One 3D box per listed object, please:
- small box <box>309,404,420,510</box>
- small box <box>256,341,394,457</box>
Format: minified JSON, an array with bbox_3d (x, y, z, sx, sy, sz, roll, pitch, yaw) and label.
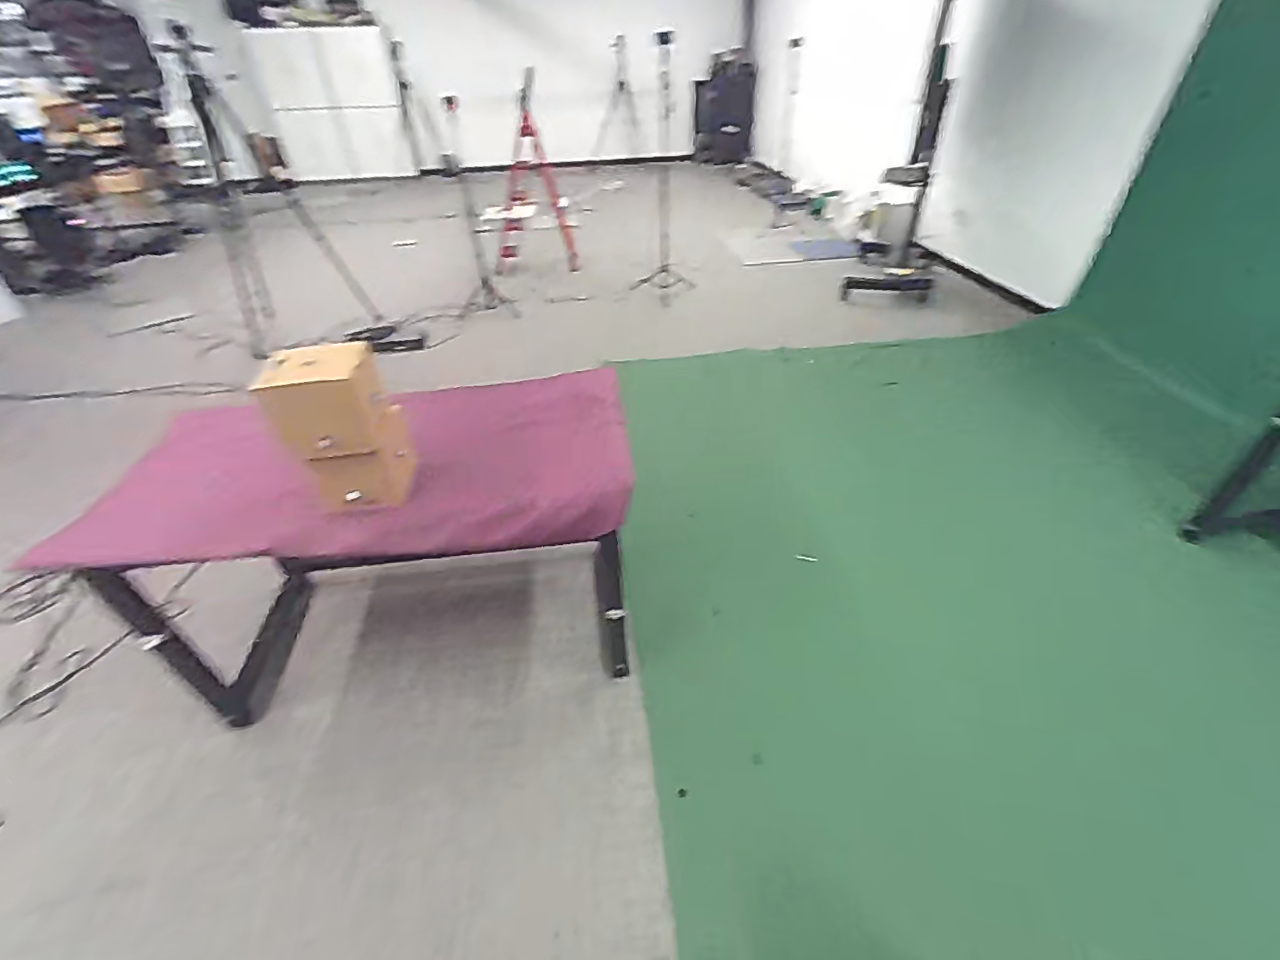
[{"bbox_3d":[-0.615,-0.054,1.227,0.168,0.176,0.179,-5,39,-3],"label":"small box"},{"bbox_3d":[-0.624,-0.164,1.103,0.179,0.176,0.168,-7,39,-6],"label":"small box"}]
